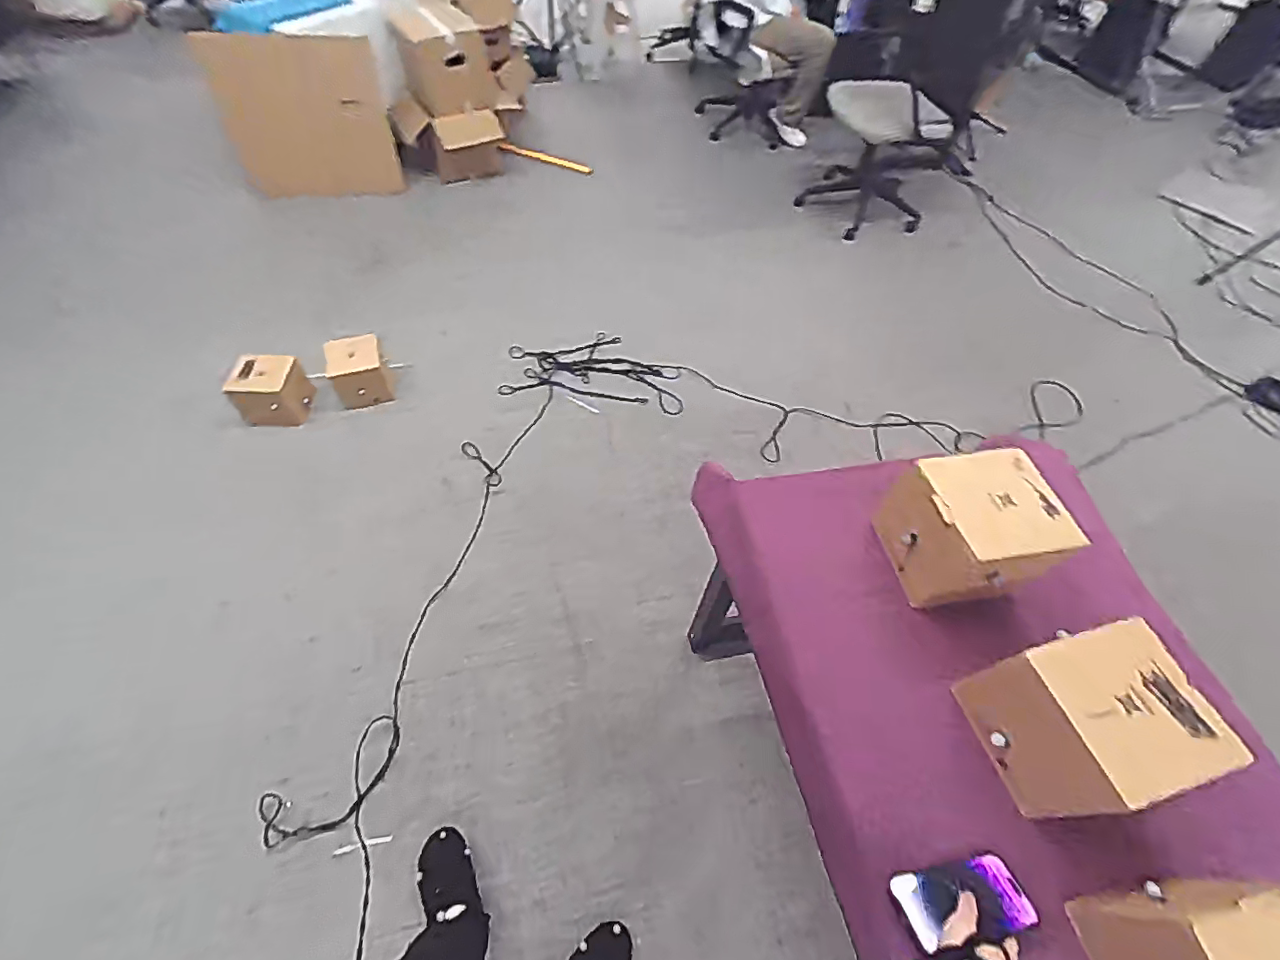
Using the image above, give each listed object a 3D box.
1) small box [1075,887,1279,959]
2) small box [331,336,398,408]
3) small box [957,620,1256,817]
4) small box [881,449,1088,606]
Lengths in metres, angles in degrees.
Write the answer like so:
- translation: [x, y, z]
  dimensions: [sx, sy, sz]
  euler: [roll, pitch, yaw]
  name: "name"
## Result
- translation: [0.580, 0.505, 0.513]
  dimensions: [0.168, 0.176, 0.179]
  euler: [-5, 56, -7]
  name: "small box"
- translation: [-0.962, -0.371, 1.895]
  dimensions: [0.168, 0.176, 0.179]
  euler: [-15, 57, -14]
  name: "small box"
- translation: [0.540, 0.293, 0.658]
  dimensions: [0.179, 0.176, 0.168]
  euler: [-11, 56, -11]
  name: "small box"
- translation: [0.489, 0.075, 0.807]
  dimensions: [0.179, 0.176, 0.168]
  euler: [-7, 56, -8]
  name: "small box"
